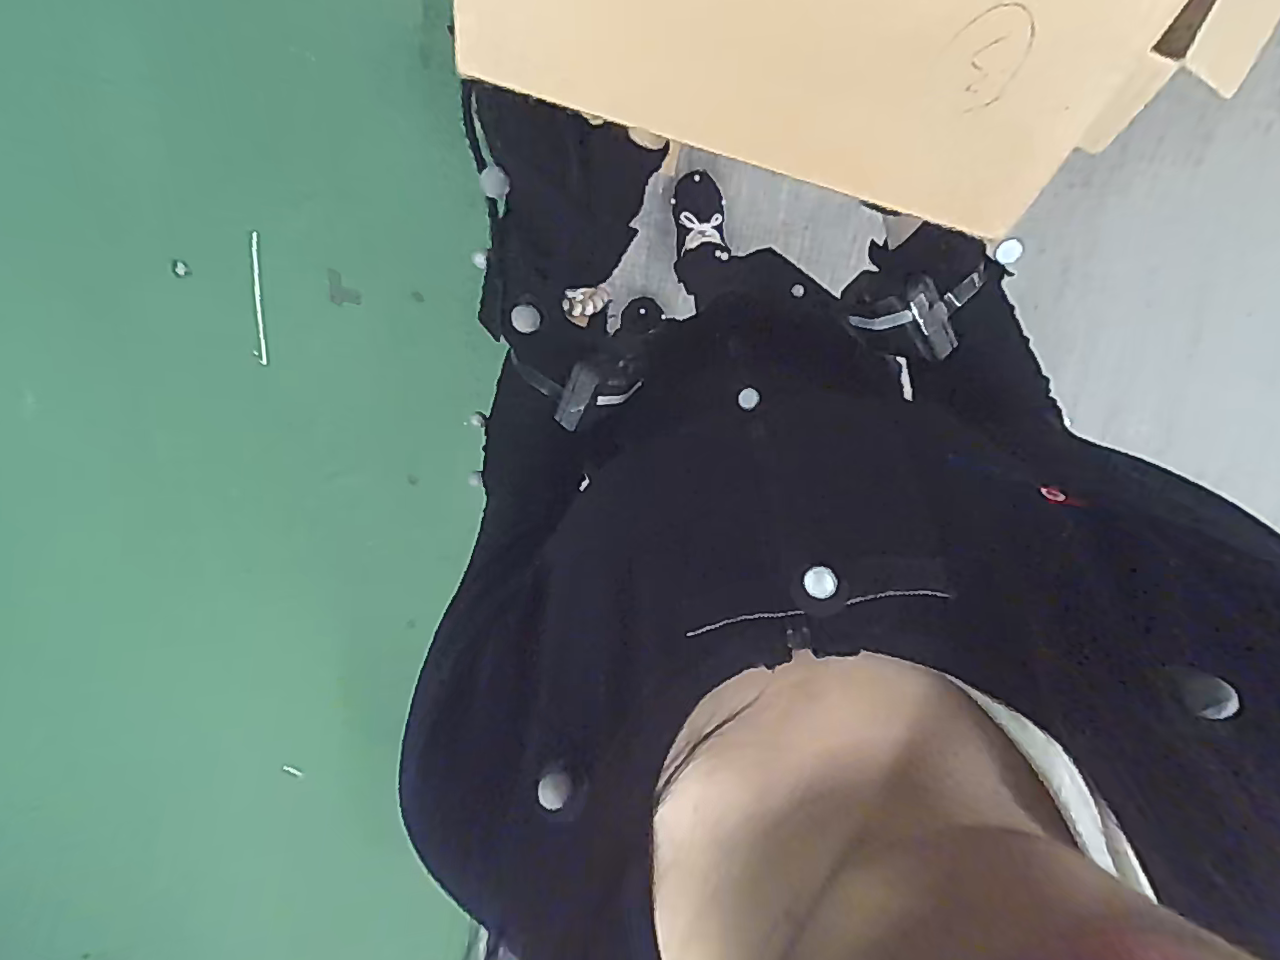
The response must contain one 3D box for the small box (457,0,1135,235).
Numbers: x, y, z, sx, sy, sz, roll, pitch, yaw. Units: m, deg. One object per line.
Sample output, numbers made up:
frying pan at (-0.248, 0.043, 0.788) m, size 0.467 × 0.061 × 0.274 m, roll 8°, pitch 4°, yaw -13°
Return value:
small box at (0.055, -0.209, 0.157) m, size 0.168 × 0.176 × 0.179 m, roll 13°, pitch 136°, yaw -5°
